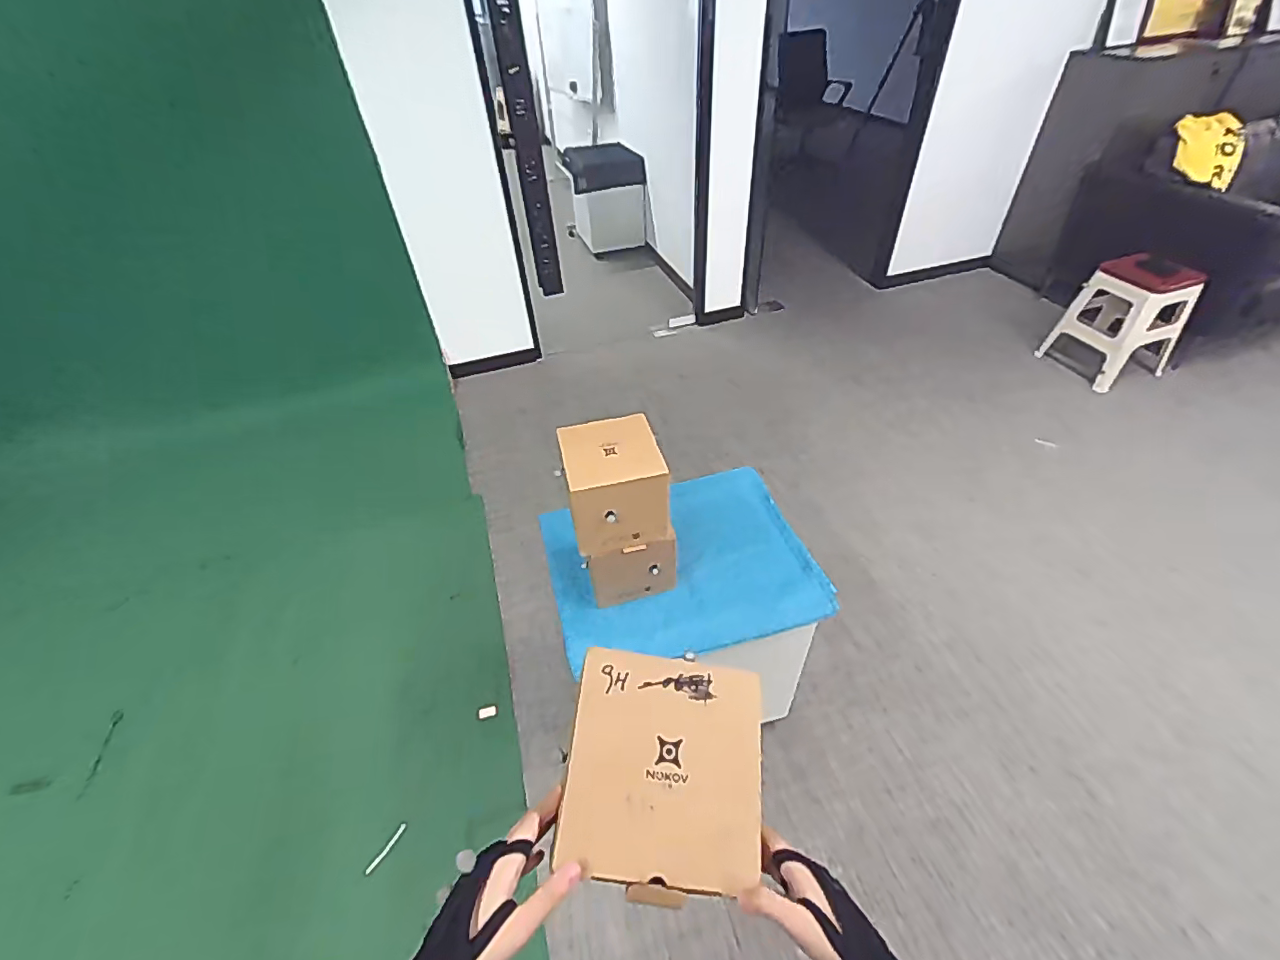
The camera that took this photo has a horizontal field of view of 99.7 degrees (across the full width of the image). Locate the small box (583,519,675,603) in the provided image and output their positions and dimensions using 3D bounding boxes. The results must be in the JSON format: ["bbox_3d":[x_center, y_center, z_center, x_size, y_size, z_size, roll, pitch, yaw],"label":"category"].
[{"bbox_3d":[-0.030,0.127,1.087,0.168,0.176,0.179,-11,43,-10],"label":"small box"}]

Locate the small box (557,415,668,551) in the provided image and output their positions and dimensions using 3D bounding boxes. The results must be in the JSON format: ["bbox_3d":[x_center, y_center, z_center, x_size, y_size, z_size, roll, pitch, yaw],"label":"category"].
[{"bbox_3d":[-0.048,0.010,0.975,0.168,0.176,0.179,-11,42,-9],"label":"small box"}]
